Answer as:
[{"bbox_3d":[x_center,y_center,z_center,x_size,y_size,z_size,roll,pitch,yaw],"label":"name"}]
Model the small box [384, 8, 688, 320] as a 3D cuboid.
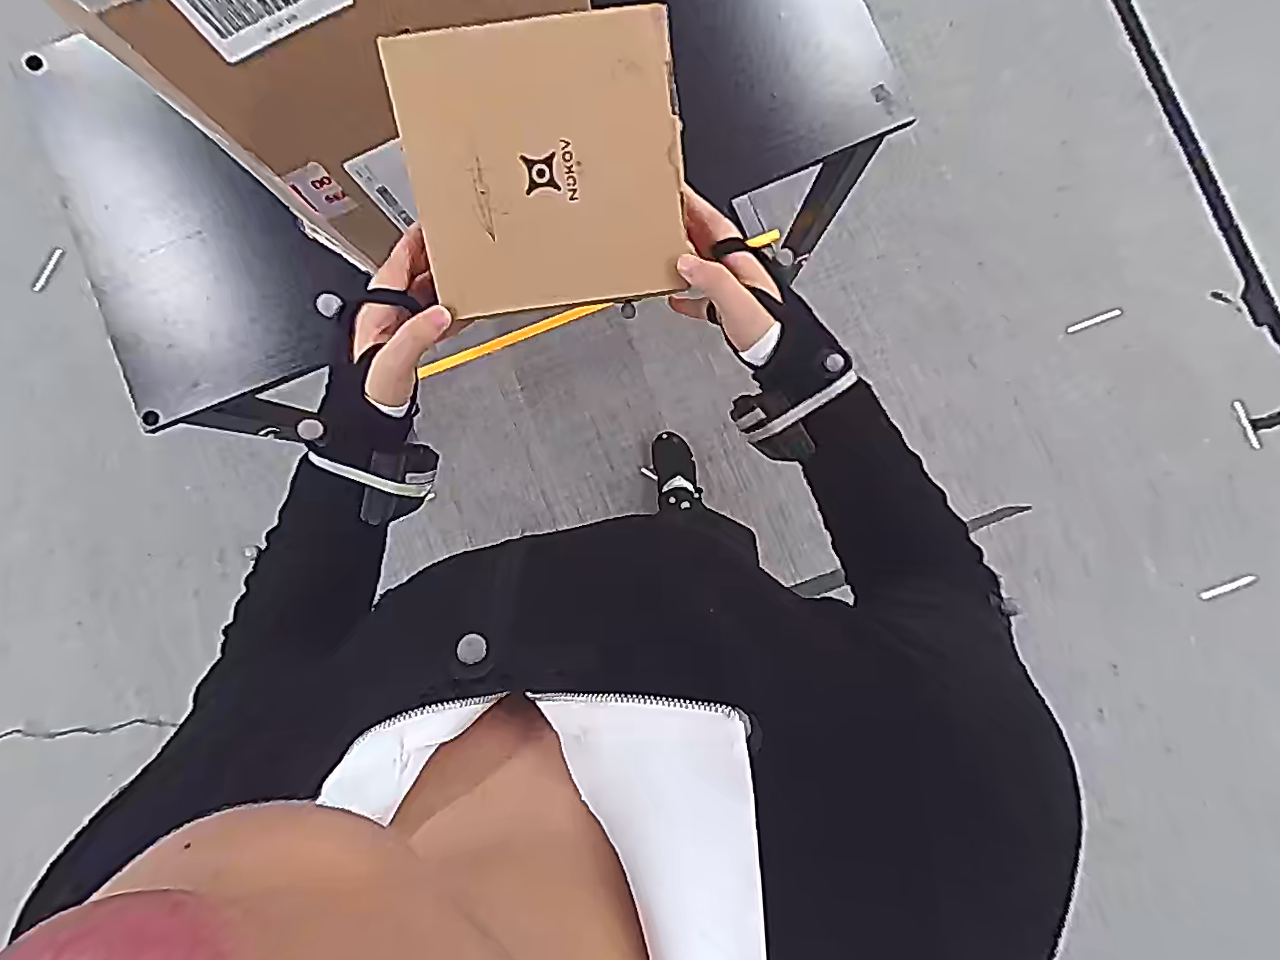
[{"bbox_3d":[-0.067,-0.225,0.433,0.179,0.176,0.168,-9,105,0],"label":"small box"}]
